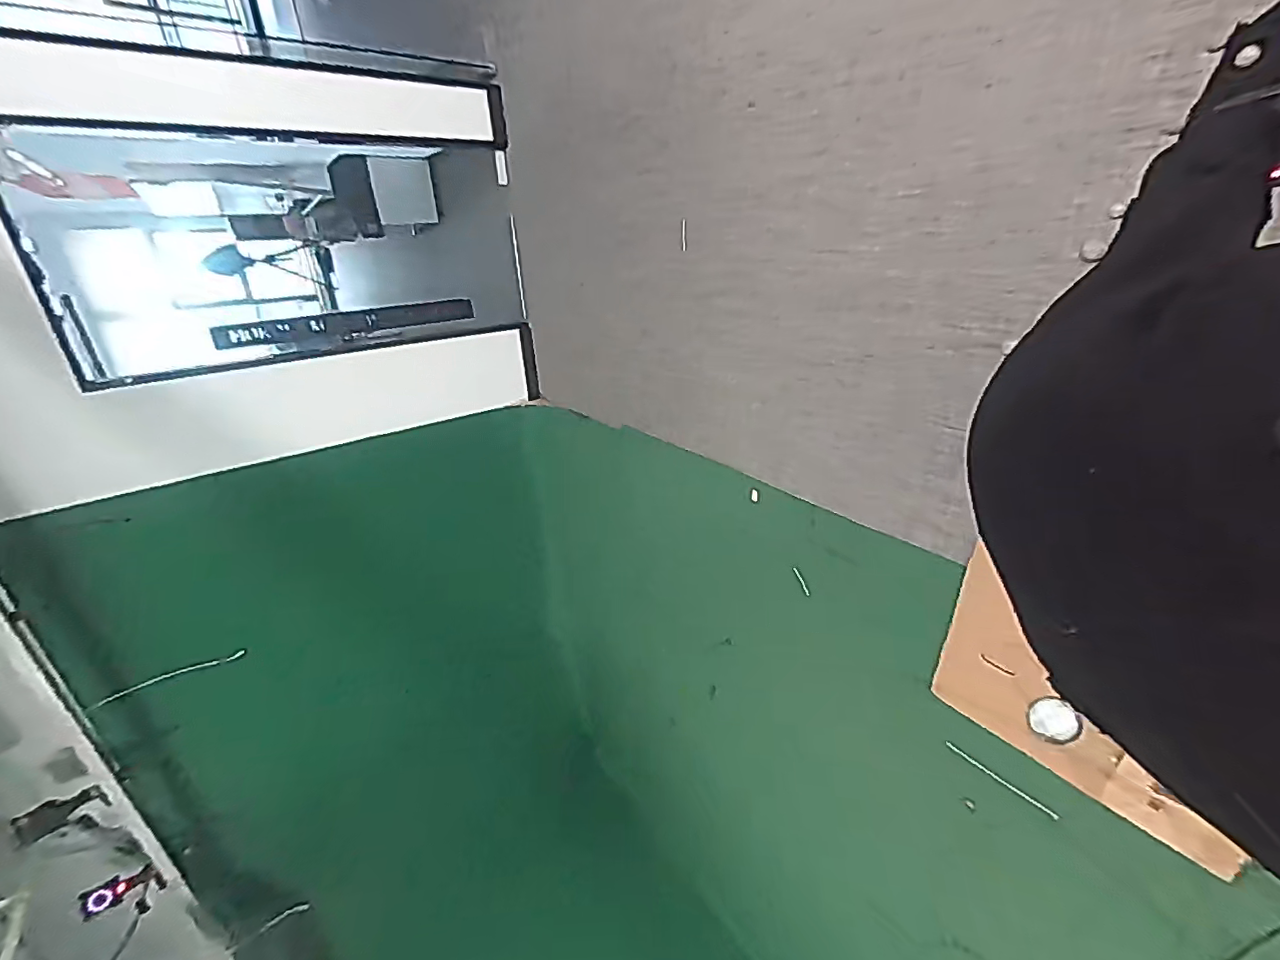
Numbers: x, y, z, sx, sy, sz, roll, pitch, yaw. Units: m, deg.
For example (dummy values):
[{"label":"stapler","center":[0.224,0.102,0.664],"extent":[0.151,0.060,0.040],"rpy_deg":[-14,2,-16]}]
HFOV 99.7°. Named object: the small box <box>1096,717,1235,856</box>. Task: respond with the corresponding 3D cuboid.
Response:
[{"label":"small box","center":[1.172,0.672,1.206],"extent":[0.168,0.176,0.179],"rpy_deg":[30,131,44]}]
